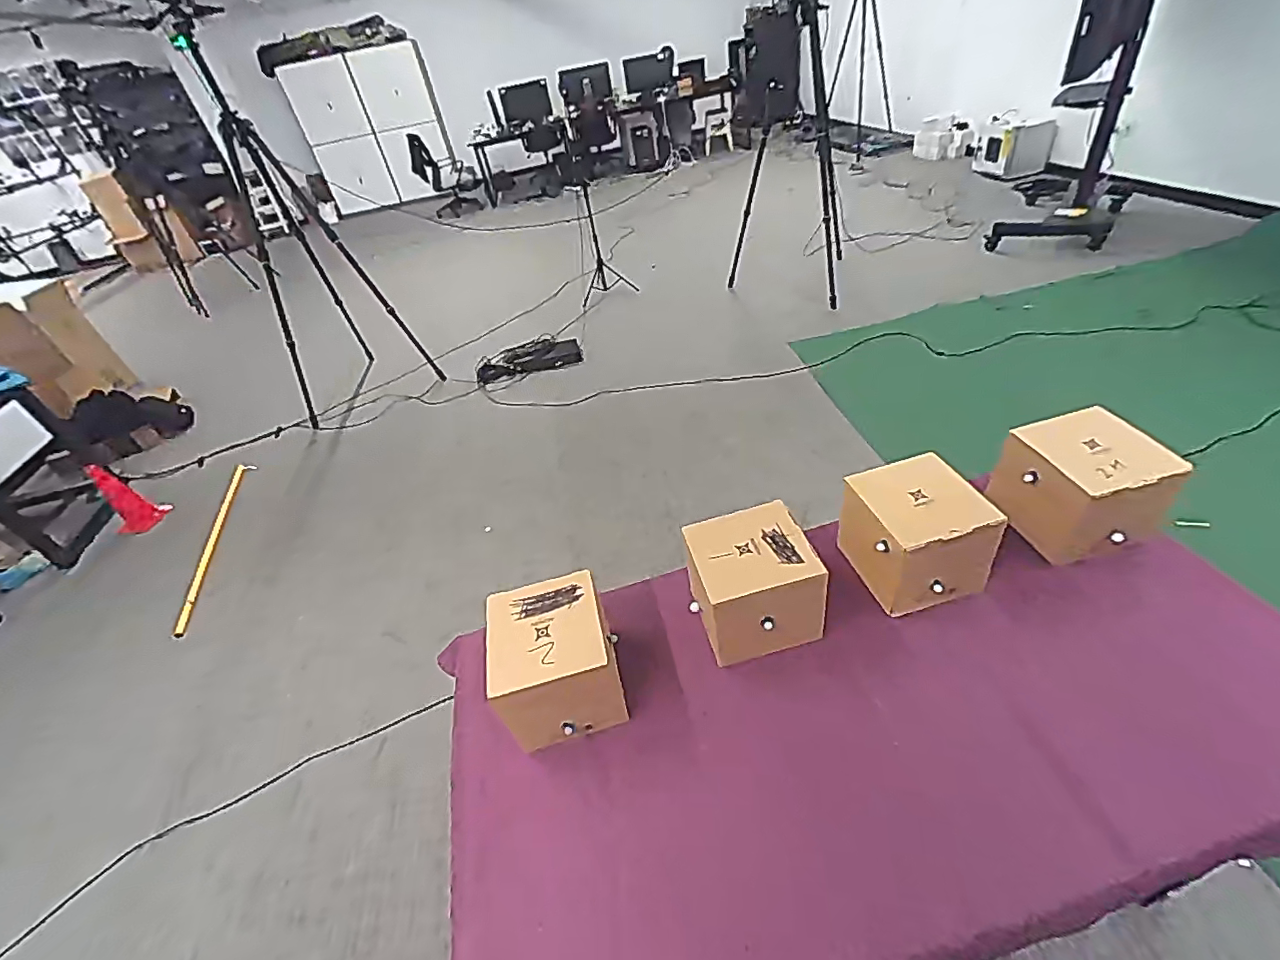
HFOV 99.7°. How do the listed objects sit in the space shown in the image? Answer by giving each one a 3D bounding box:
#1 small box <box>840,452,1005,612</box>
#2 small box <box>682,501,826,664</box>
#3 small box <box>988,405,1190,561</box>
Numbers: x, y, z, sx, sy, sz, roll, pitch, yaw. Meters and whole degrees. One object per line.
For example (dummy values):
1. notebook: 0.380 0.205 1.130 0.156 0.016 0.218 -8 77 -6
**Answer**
1. small box: 0.449 0.086 0.897 0.168 0.176 0.179 -17 41 -4
2. small box: 0.179 0.167 0.874 0.179 0.176 0.168 -16 40 -2
3. small box: 0.727 0.006 0.905 0.168 0.176 0.179 -16 42 -2
